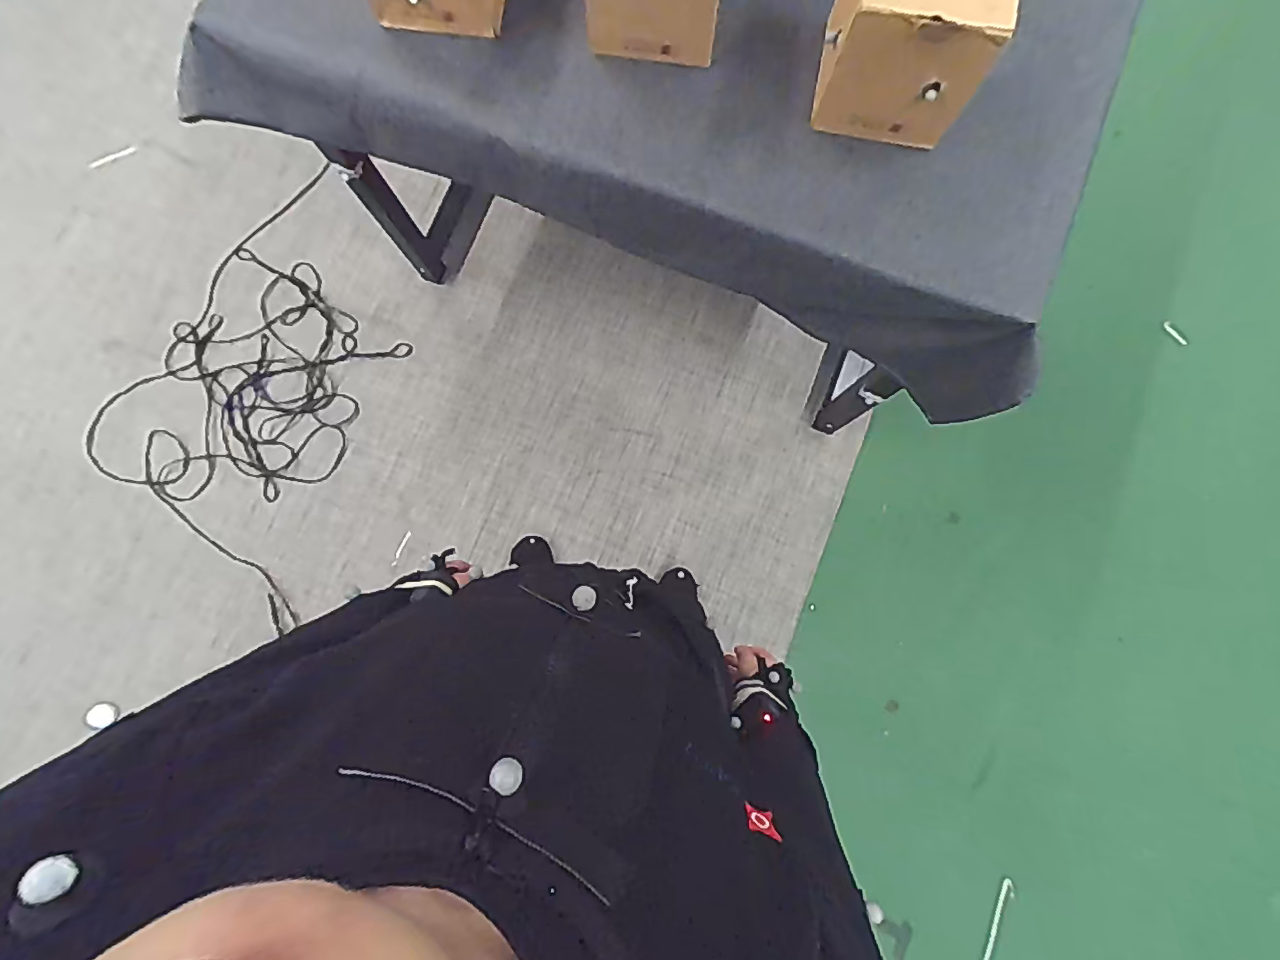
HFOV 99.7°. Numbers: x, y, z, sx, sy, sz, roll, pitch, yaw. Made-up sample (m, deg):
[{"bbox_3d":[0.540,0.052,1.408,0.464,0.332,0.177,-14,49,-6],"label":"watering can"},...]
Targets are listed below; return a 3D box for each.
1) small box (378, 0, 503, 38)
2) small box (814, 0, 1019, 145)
[{"bbox_3d":[-0.264,-0.710,0.671,0.168,0.176,0.179,6,83,0],"label":"small box"},{"bbox_3d":[0.323,-0.547,0.651,0.168,0.176,0.179,11,81,0],"label":"small box"}]
